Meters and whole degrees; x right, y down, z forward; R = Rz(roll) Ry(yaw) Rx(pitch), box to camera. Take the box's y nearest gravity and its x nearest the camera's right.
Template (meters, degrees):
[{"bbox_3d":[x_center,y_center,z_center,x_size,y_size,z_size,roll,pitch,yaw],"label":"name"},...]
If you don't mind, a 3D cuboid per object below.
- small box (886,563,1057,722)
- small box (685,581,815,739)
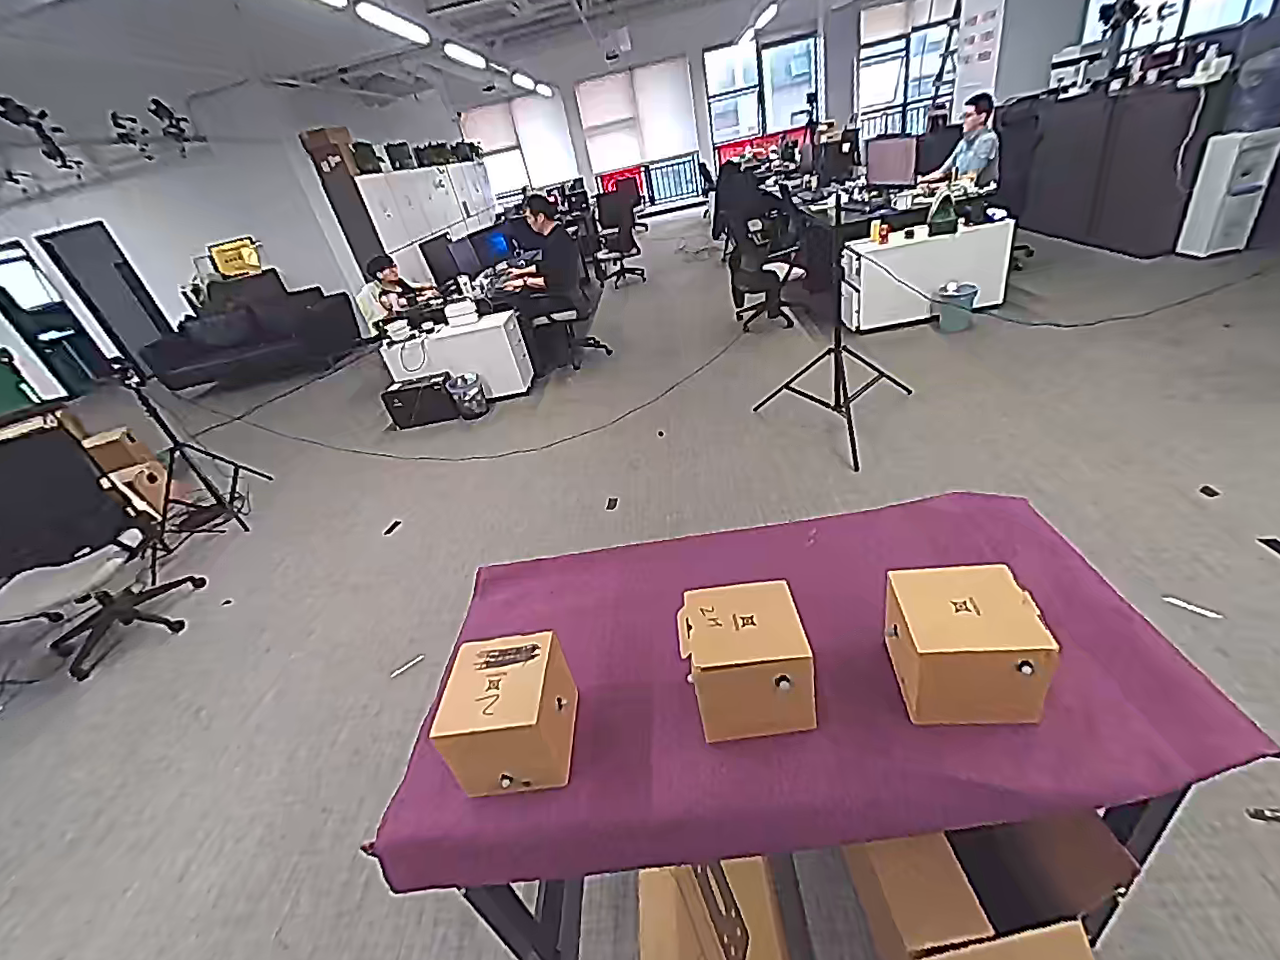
[{"bbox_3d":[0.487,0.249,0.826,0.179,0.176,0.168,-6,32,11],"label":"small box"},{"bbox_3d":[0.175,0.291,0.877,0.179,0.176,0.168,-10,29,5],"label":"small box"}]
